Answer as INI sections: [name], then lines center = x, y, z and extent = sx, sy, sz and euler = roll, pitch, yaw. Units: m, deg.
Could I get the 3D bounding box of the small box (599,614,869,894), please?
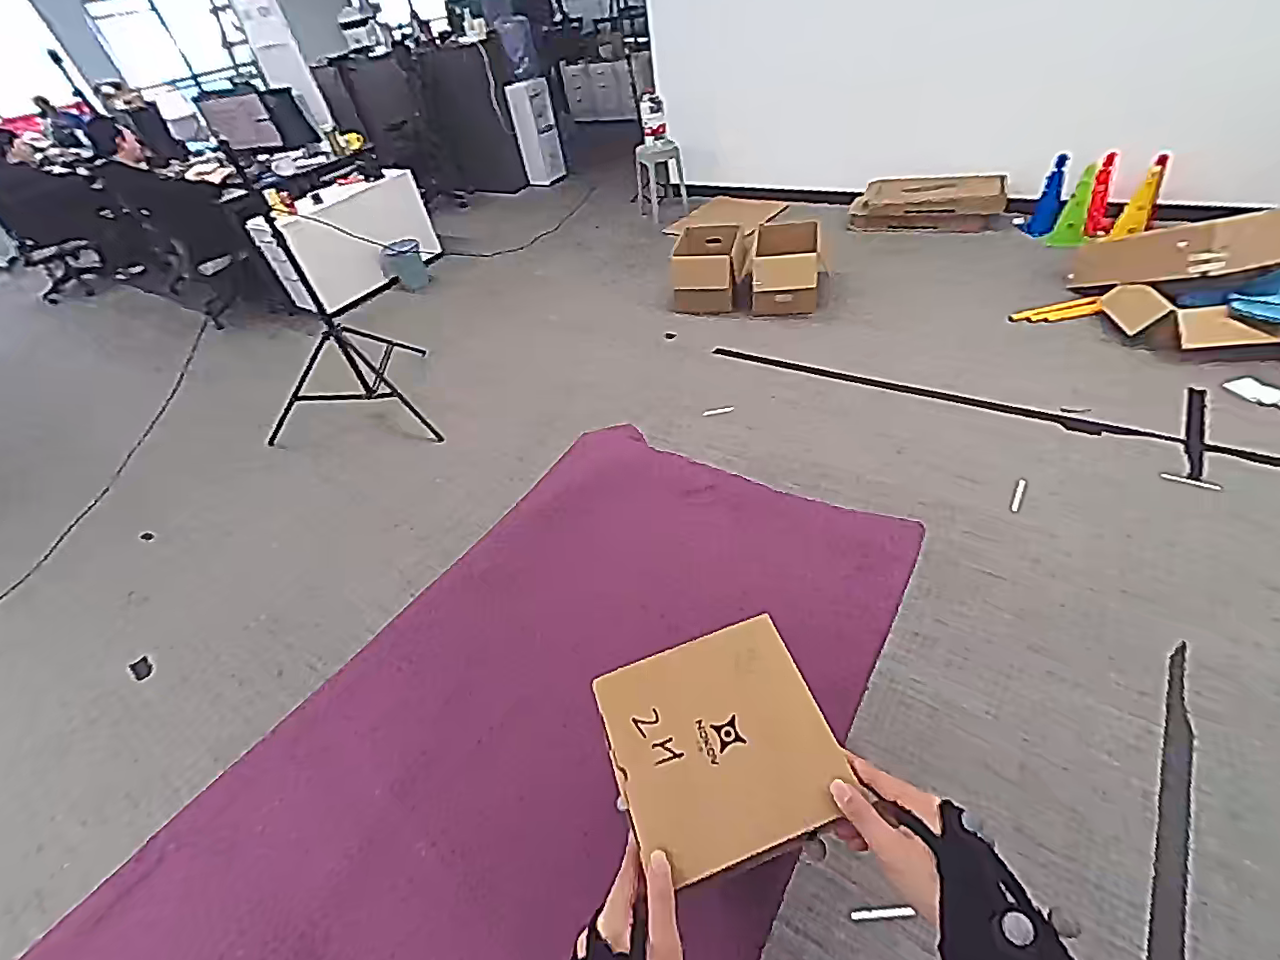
[small box]
center = 0.076, 0.256, 0.504
extent = 0.179, 0.176, 0.168
euler = -19, 51, -6
